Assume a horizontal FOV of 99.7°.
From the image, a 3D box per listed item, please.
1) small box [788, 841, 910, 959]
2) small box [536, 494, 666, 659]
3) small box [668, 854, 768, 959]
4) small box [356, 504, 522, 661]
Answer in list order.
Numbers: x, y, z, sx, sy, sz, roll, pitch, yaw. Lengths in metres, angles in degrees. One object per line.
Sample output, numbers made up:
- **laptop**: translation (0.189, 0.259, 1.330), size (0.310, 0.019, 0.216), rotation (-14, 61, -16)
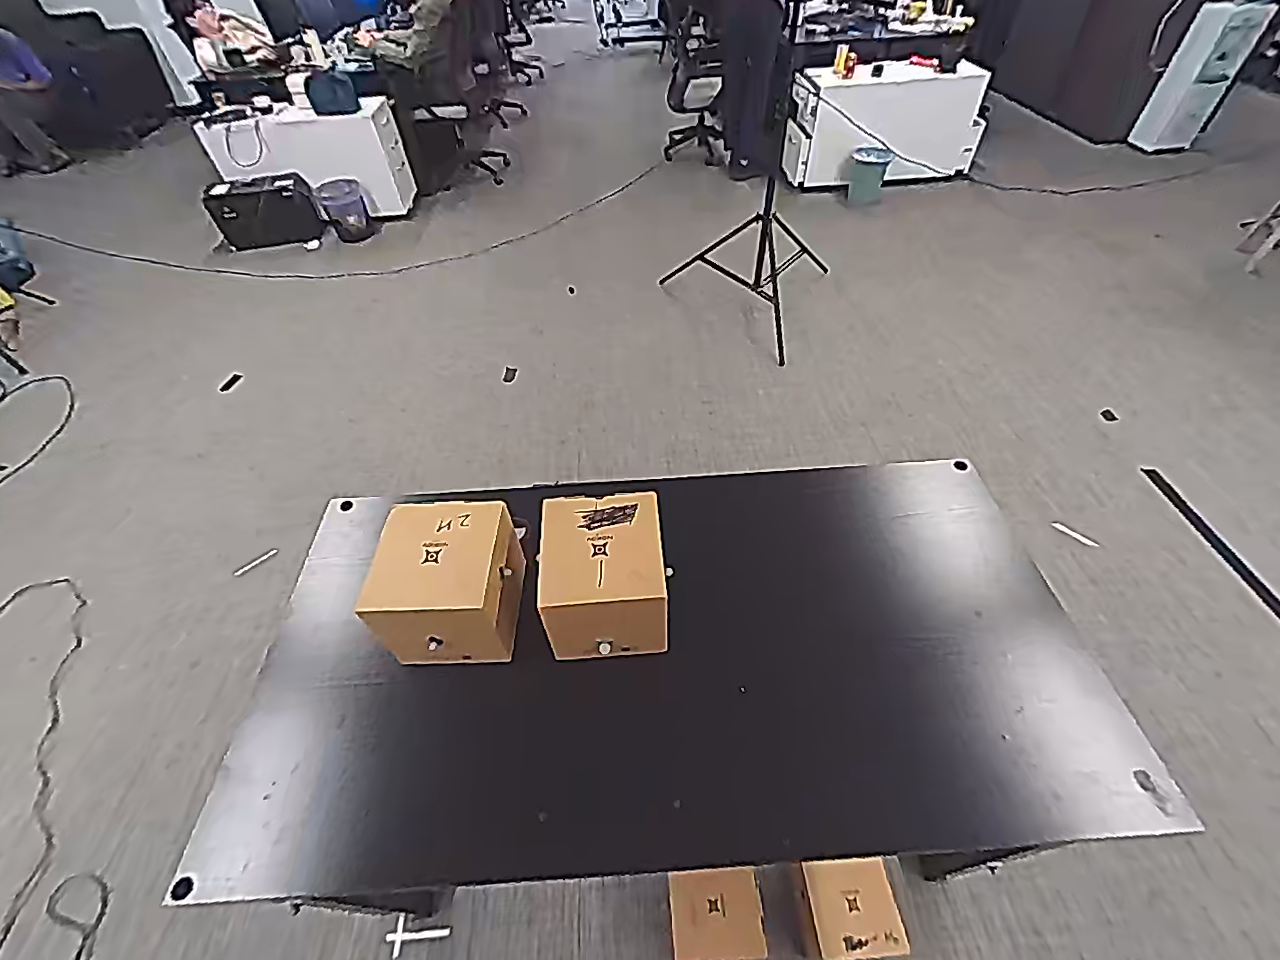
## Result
- **small box**: translation (0.412, 0.861, 1.102), size (0.168, 0.176, 0.179), rotation (-5, 48, -1)
- **small box**: translation (-0.052, 0.142, 0.793), size (0.168, 0.176, 0.179), rotation (-4, 49, -1)
- **small box**: translation (0.150, 0.879, 1.104), size (0.179, 0.176, 0.168), rotation (-5, 48, 0)
- **small box**: translation (-0.276, 0.155, 0.794), size (0.168, 0.176, 0.179), rotation (-1, 48, 1)
